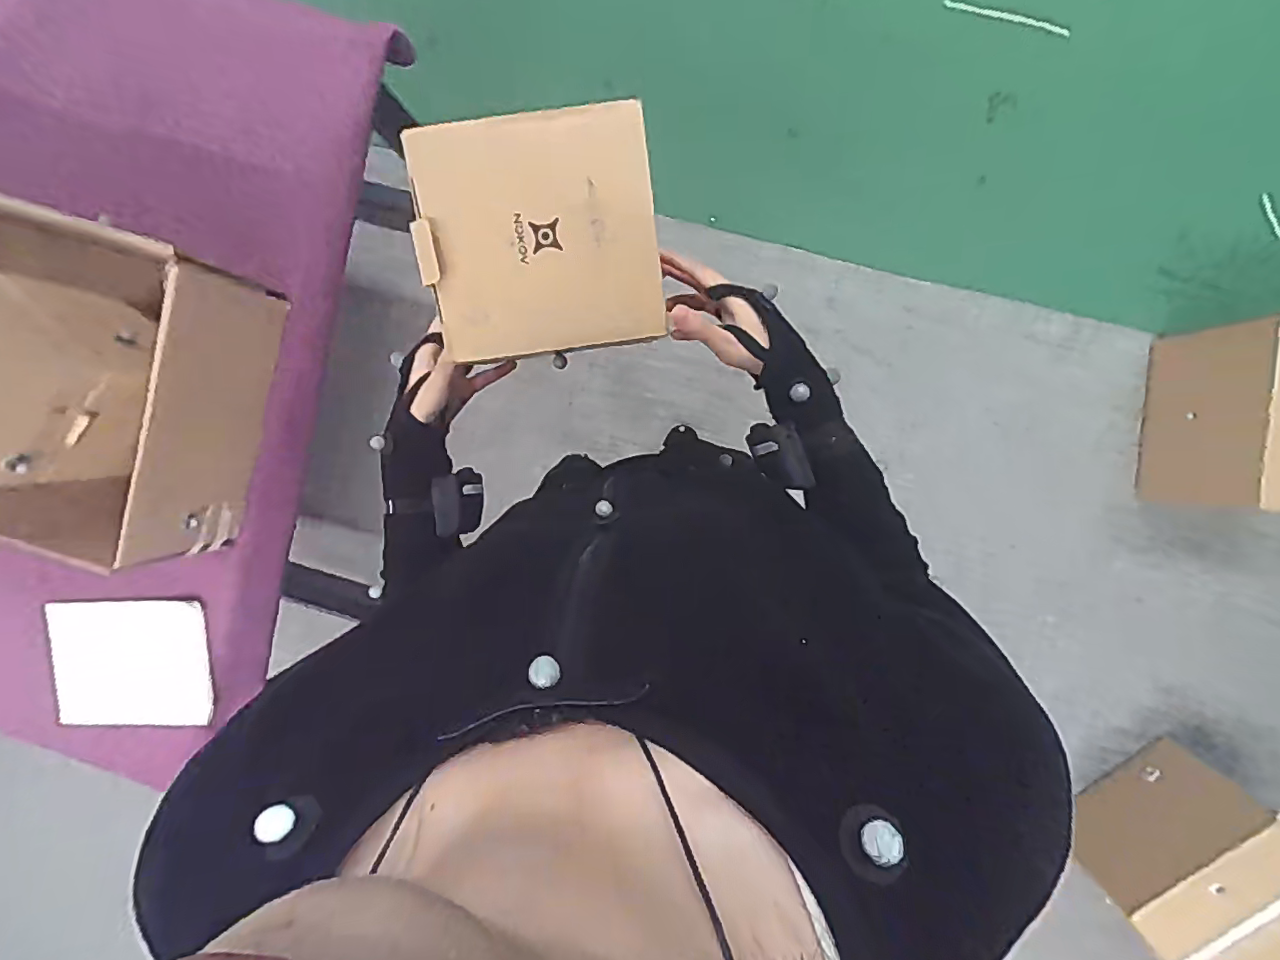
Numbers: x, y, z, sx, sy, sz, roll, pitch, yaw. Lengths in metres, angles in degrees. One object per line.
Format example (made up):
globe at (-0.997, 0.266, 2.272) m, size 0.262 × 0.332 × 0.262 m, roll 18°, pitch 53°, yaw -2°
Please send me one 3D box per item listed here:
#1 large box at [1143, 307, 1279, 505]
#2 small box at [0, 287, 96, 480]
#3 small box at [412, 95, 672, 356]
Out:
large box at (1.437, -0.156, 1.226) m, size 0.320 × 0.320 × 0.408 m, roll 1°, pitch 94°, yaw 4°
small box at (-0.708, -0.103, 0.526) m, size 0.179 × 0.176 × 0.168 m, roll 38°, pitch 98°, yaw 2°
small box at (-0.070, -0.202, 0.477) m, size 0.179 × 0.176 × 0.168 m, roll -7°, pitch 103°, yaw -1°
